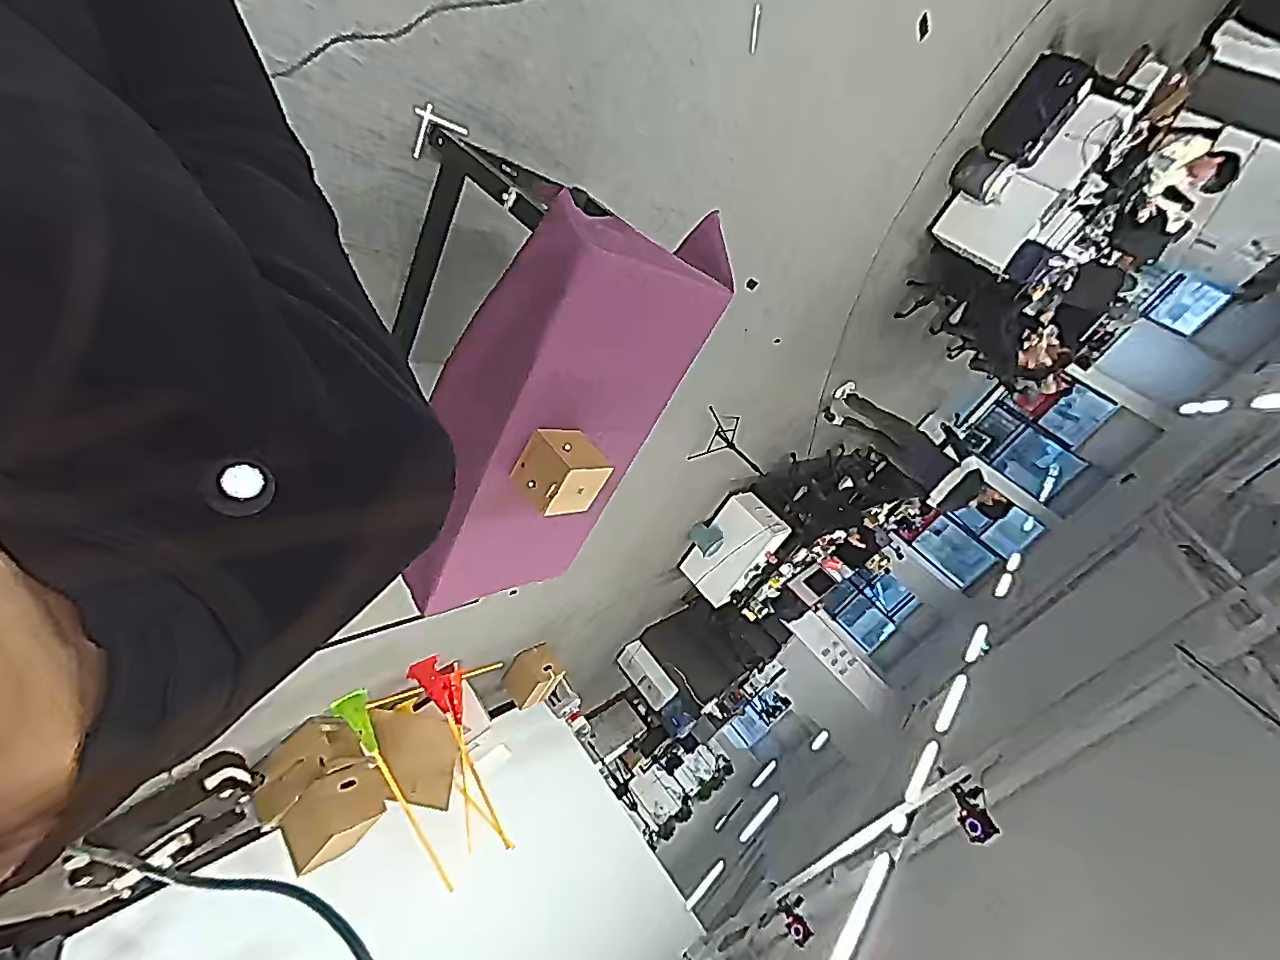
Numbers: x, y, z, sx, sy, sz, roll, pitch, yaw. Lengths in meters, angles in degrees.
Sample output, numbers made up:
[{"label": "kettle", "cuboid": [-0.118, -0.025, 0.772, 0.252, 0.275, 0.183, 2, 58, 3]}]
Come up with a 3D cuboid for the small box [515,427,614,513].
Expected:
[{"label": "small box", "cuboid": [-0.210, -0.032, 1.475, 0.179, 0.176, 0.168, -5, 135, -54]}]
